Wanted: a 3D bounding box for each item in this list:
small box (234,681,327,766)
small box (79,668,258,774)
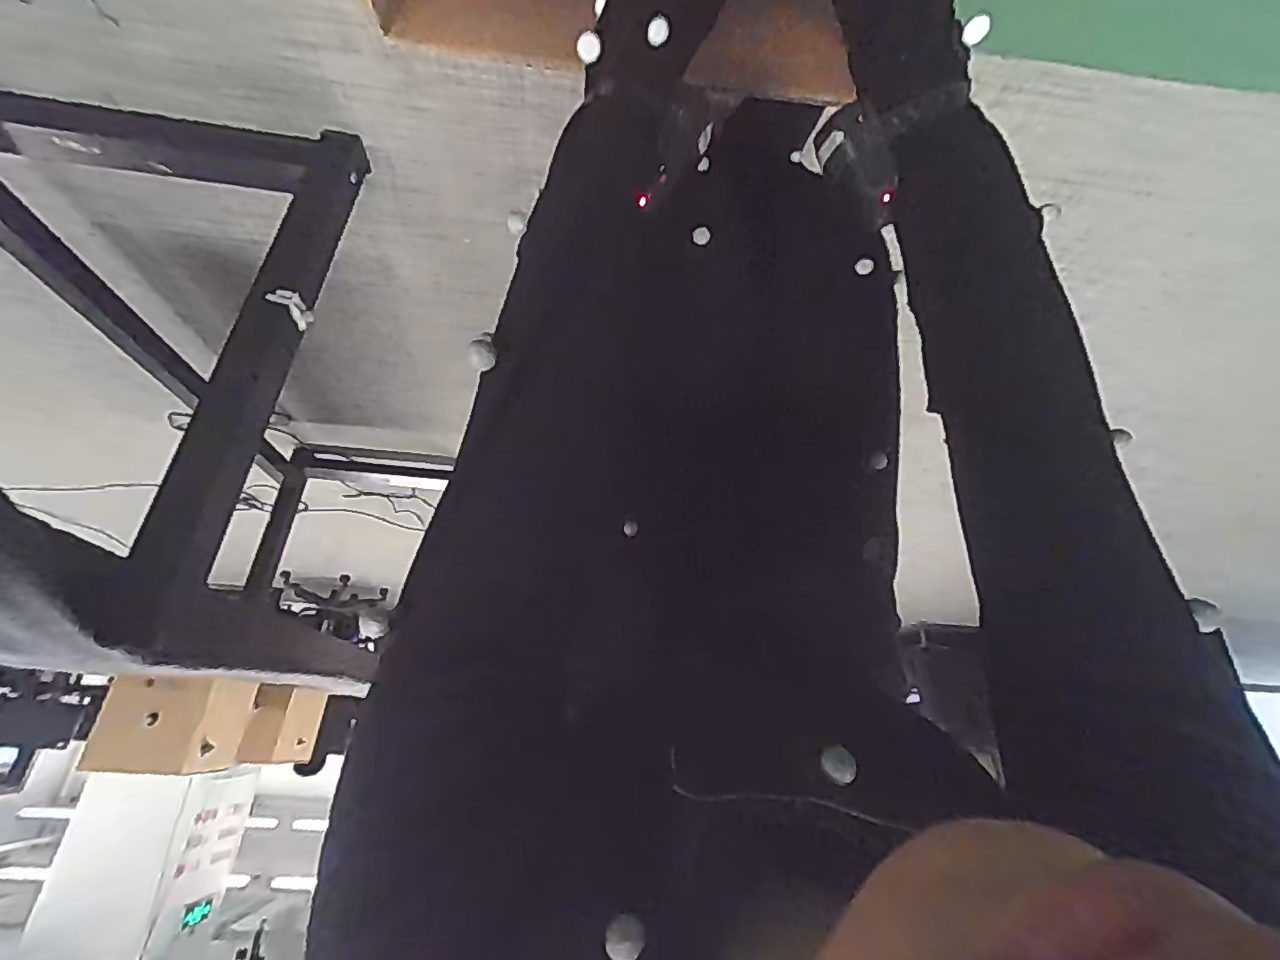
[{"bbox_3d":[-0.882,0.576,1.287,0.168,0.176,0.179,4,154,-2],"label":"small box"},{"bbox_3d":[-0.875,0.456,1.026,0.168,0.176,0.179,7,155,-7],"label":"small box"}]
